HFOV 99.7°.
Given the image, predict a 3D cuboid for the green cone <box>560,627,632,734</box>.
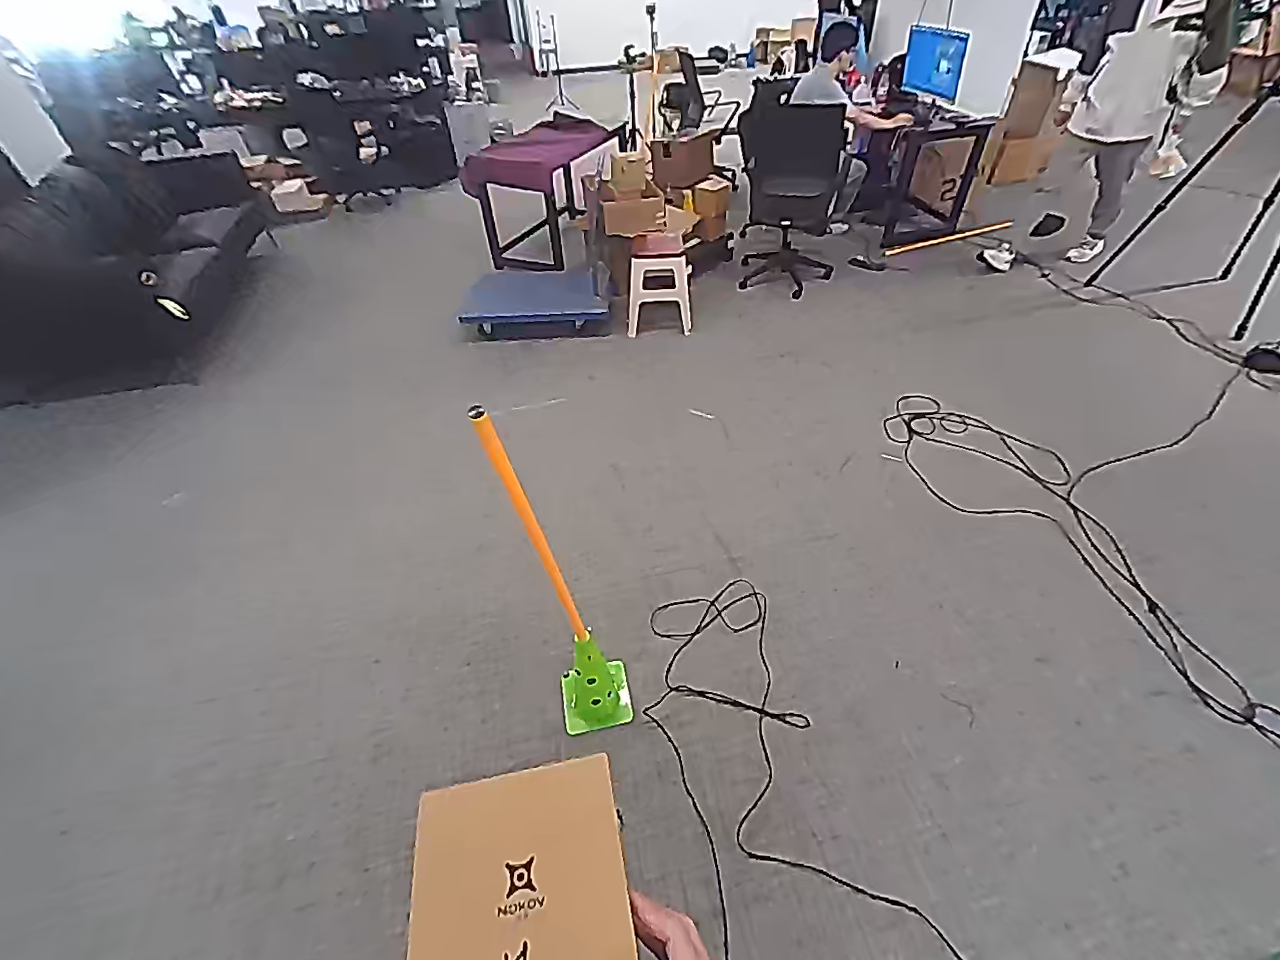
[{"bbox_3d":[-0.139,0.527,1.506,0.202,0.368,0.200,-9,45,-8],"label":"green cone"}]
